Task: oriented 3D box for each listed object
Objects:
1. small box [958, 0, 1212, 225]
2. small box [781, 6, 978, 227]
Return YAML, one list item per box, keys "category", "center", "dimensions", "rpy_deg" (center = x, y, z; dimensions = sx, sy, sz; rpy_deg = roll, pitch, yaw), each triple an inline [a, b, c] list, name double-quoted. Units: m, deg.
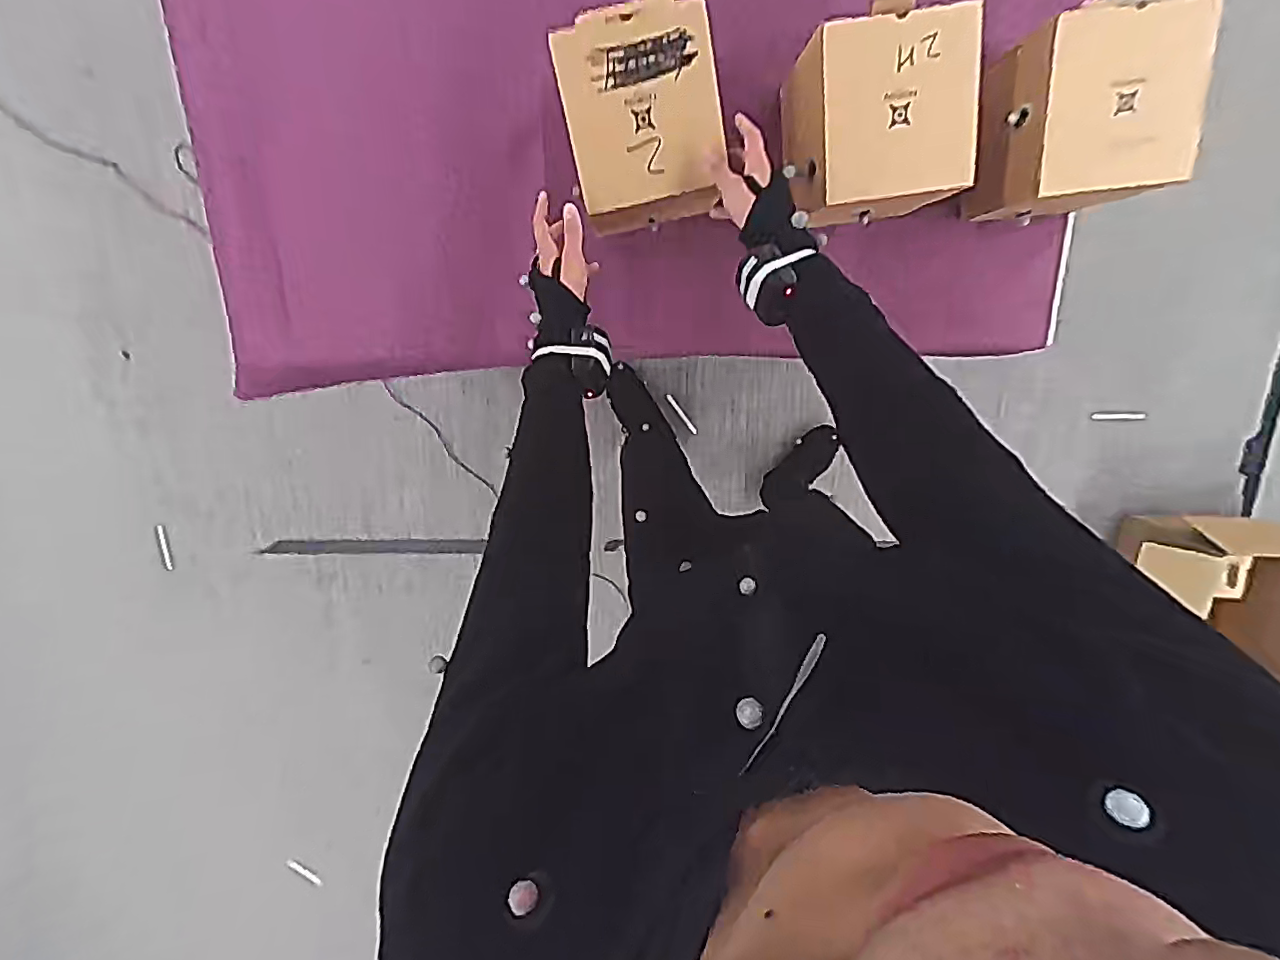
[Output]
- category: "small box"
  center: [0.514, -0.426, 0.655]
  dimensions: [0.168, 0.176, 0.179]
  rpy_deg: [-5, 105, 2]
- category: "small box"
  center: [0.275, -0.417, 0.656]
  dimensions: [0.168, 0.176, 0.179]
  rpy_deg: [-7, 105, 2]
